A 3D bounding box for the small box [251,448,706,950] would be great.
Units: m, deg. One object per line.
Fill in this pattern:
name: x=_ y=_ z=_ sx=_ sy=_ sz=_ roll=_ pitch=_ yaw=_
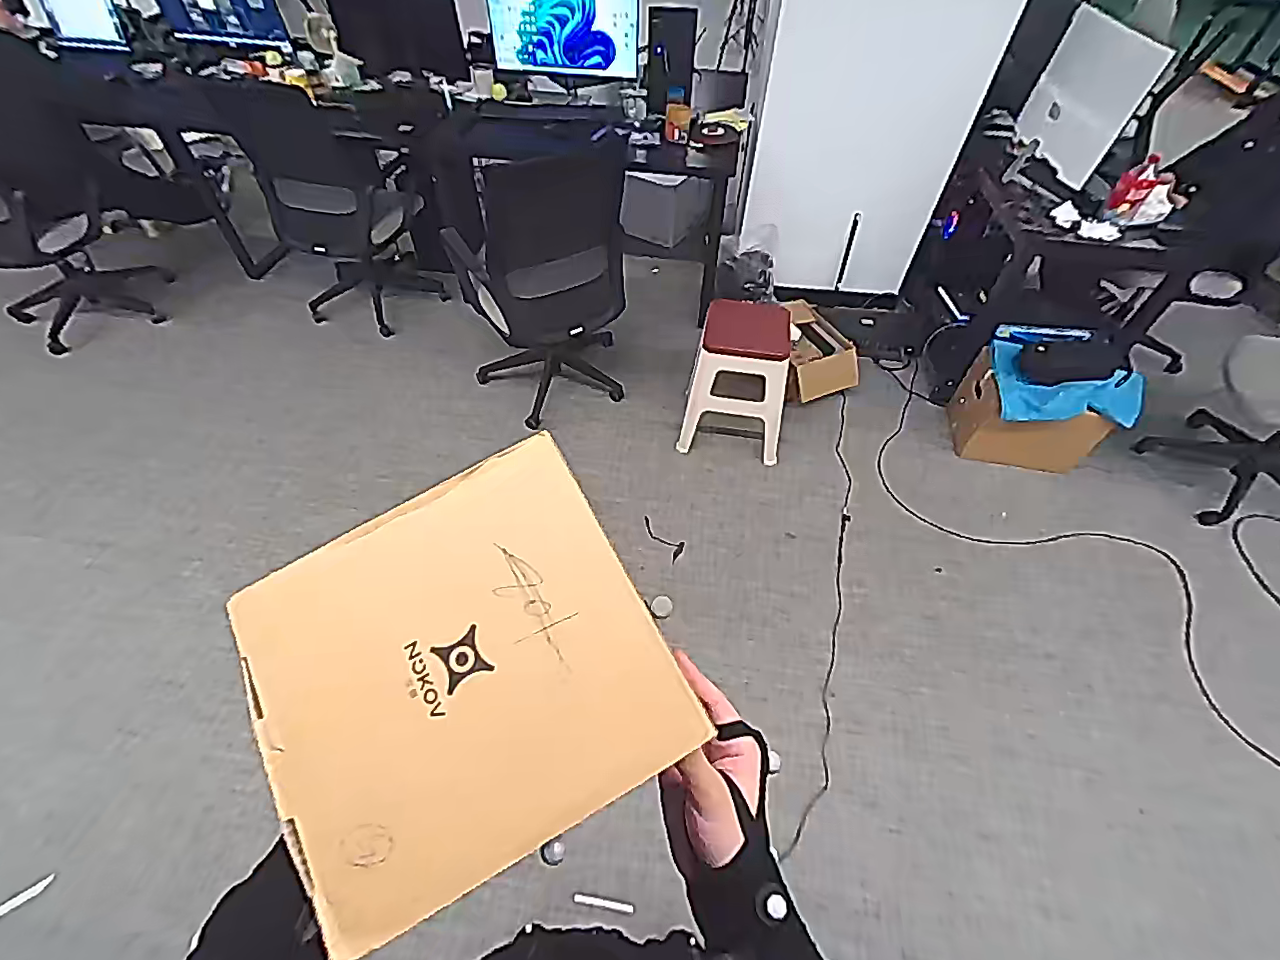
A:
small box: x=-0.078 y=0.115 z=0.331 sx=0.179 sy=0.176 sz=0.168 roll=-30 pitch=73 yaw=-8
